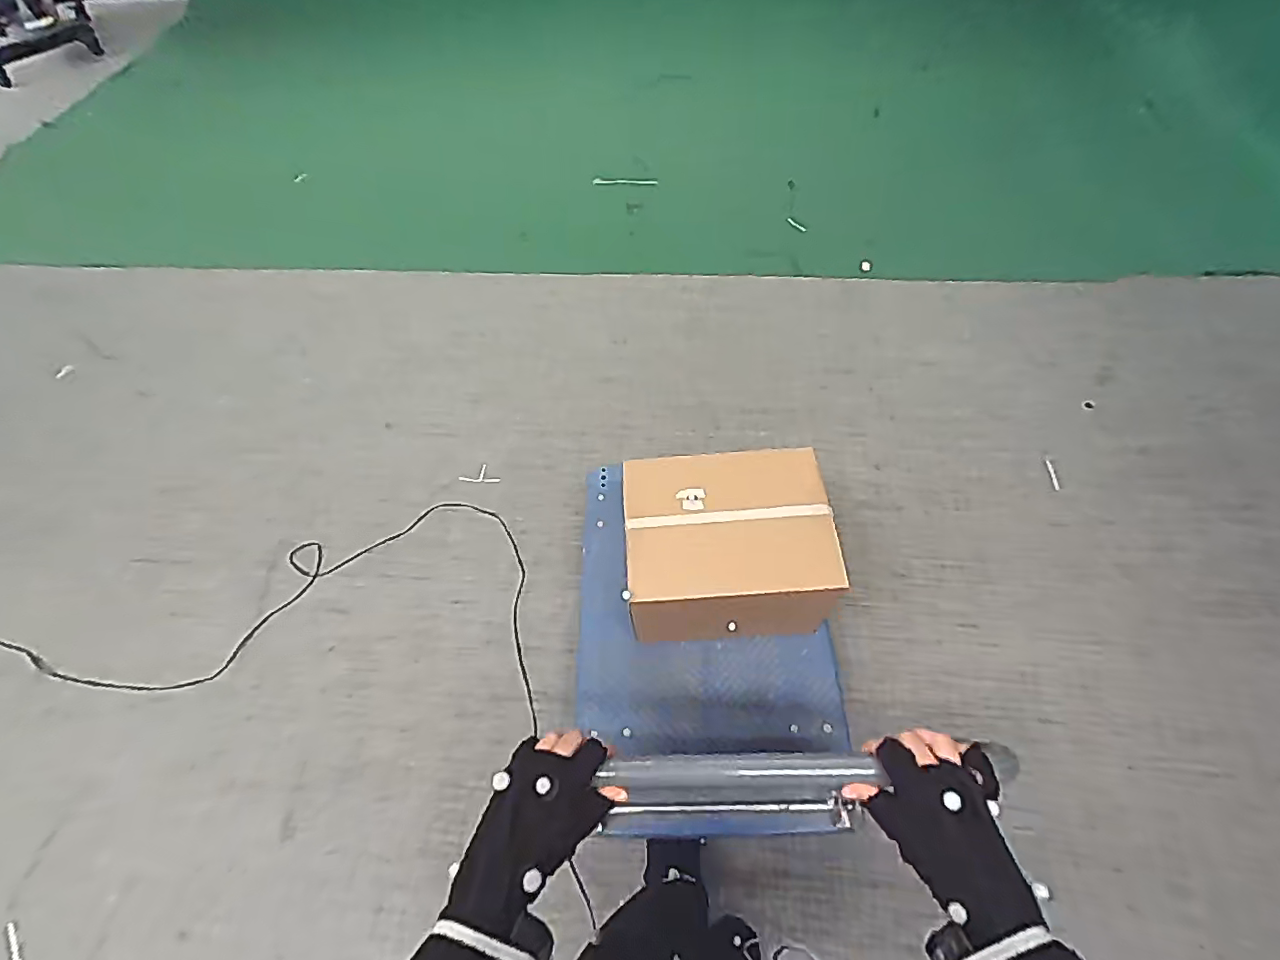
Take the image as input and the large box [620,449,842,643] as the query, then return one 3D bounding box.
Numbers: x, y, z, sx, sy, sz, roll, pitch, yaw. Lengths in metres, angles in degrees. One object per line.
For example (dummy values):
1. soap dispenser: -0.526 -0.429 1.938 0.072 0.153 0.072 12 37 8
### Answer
1. large box: 0.177 0.158 1.195 0.408 0.320 0.320 -5 58 2
